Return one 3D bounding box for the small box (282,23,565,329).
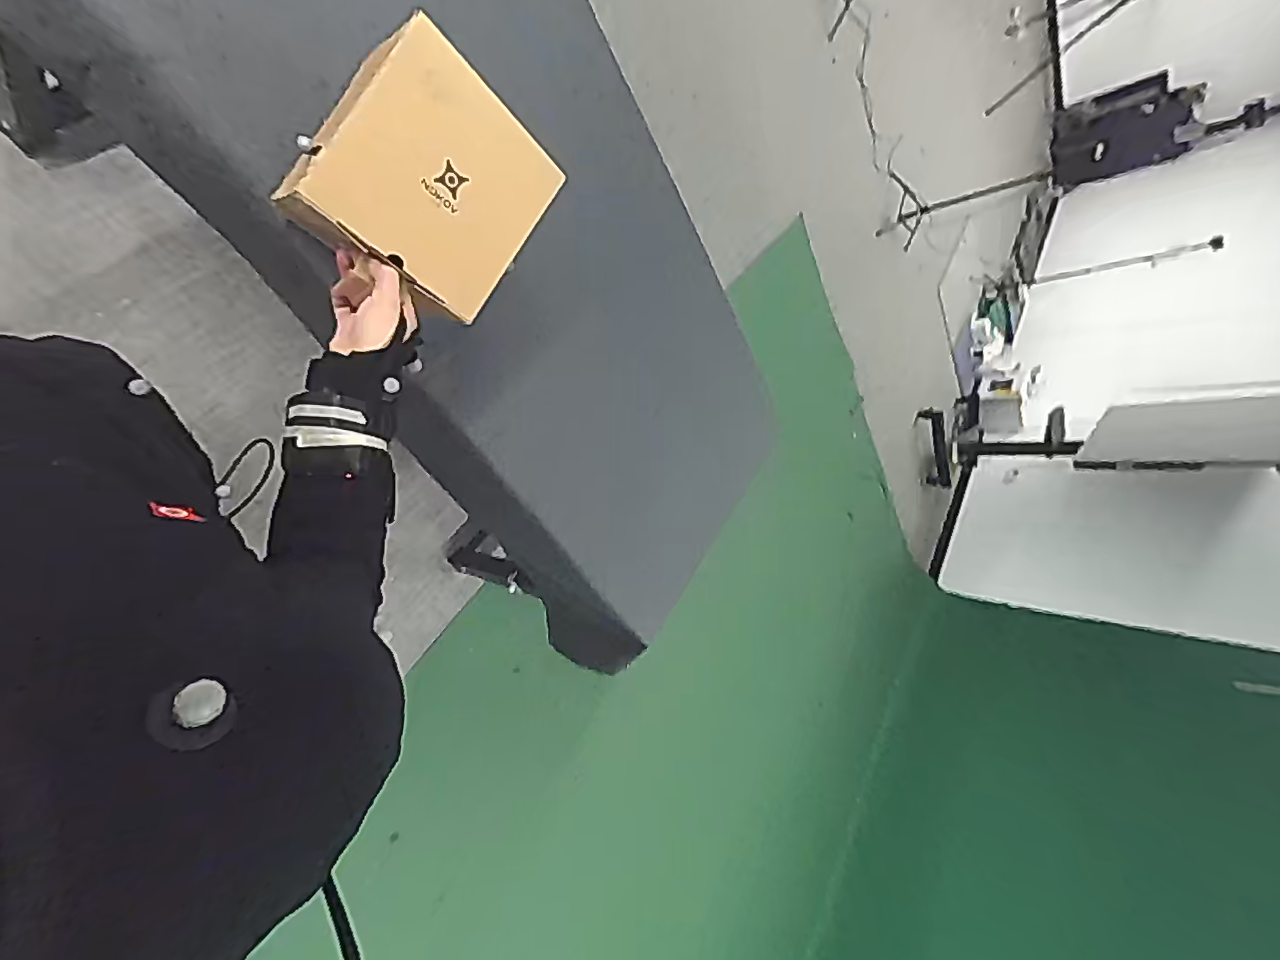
[{"bbox_3d":[-0.213,-0.278,0.523,0.168,0.176,0.179,35,87,-45],"label":"small box"}]
